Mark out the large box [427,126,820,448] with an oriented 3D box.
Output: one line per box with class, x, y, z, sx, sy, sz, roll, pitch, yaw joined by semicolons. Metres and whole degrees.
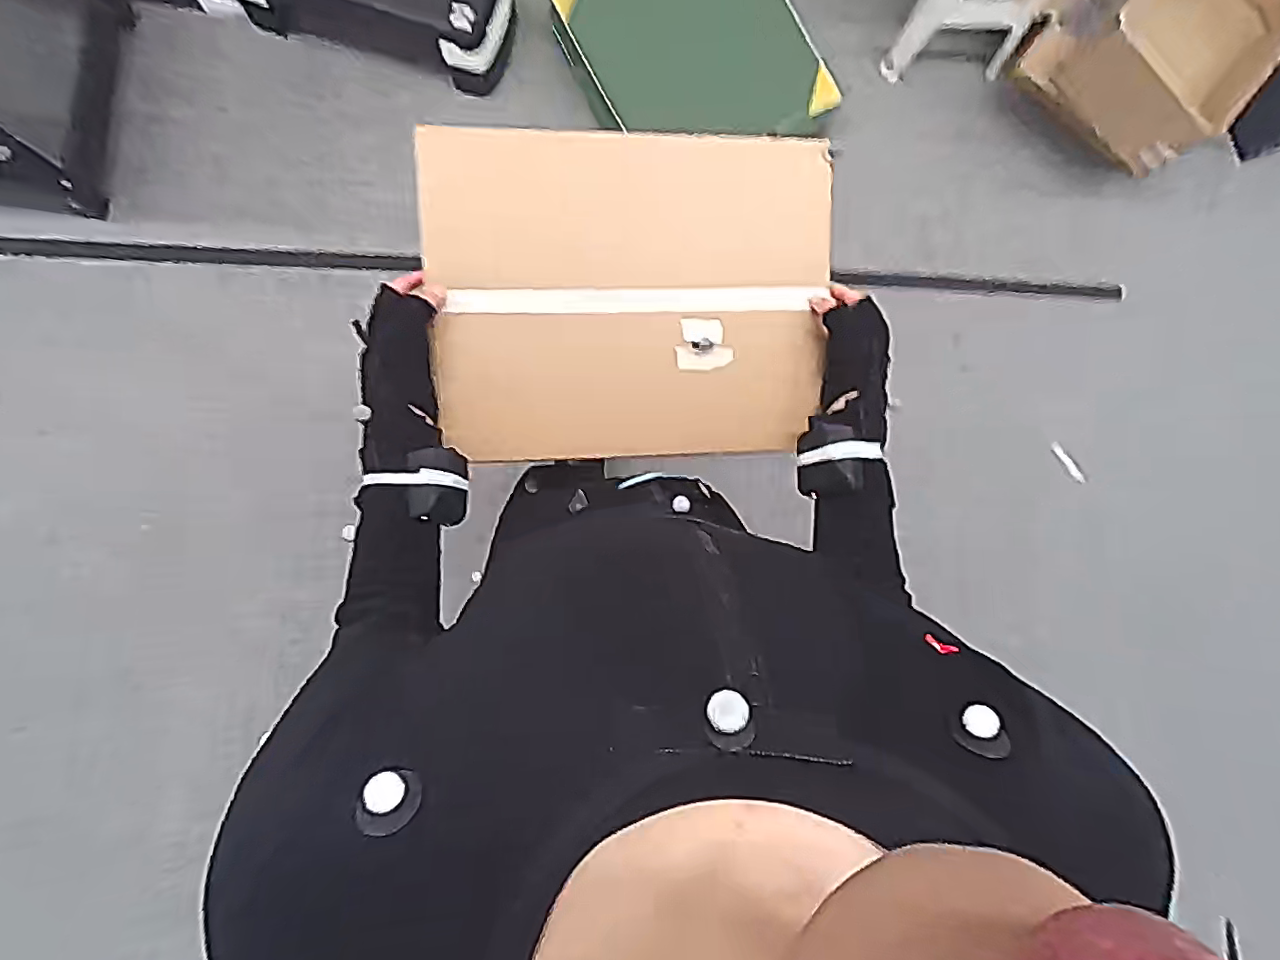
large box;-0.026;-0.211;0.705;0.408;0.320;0.320;-2;98;-7
